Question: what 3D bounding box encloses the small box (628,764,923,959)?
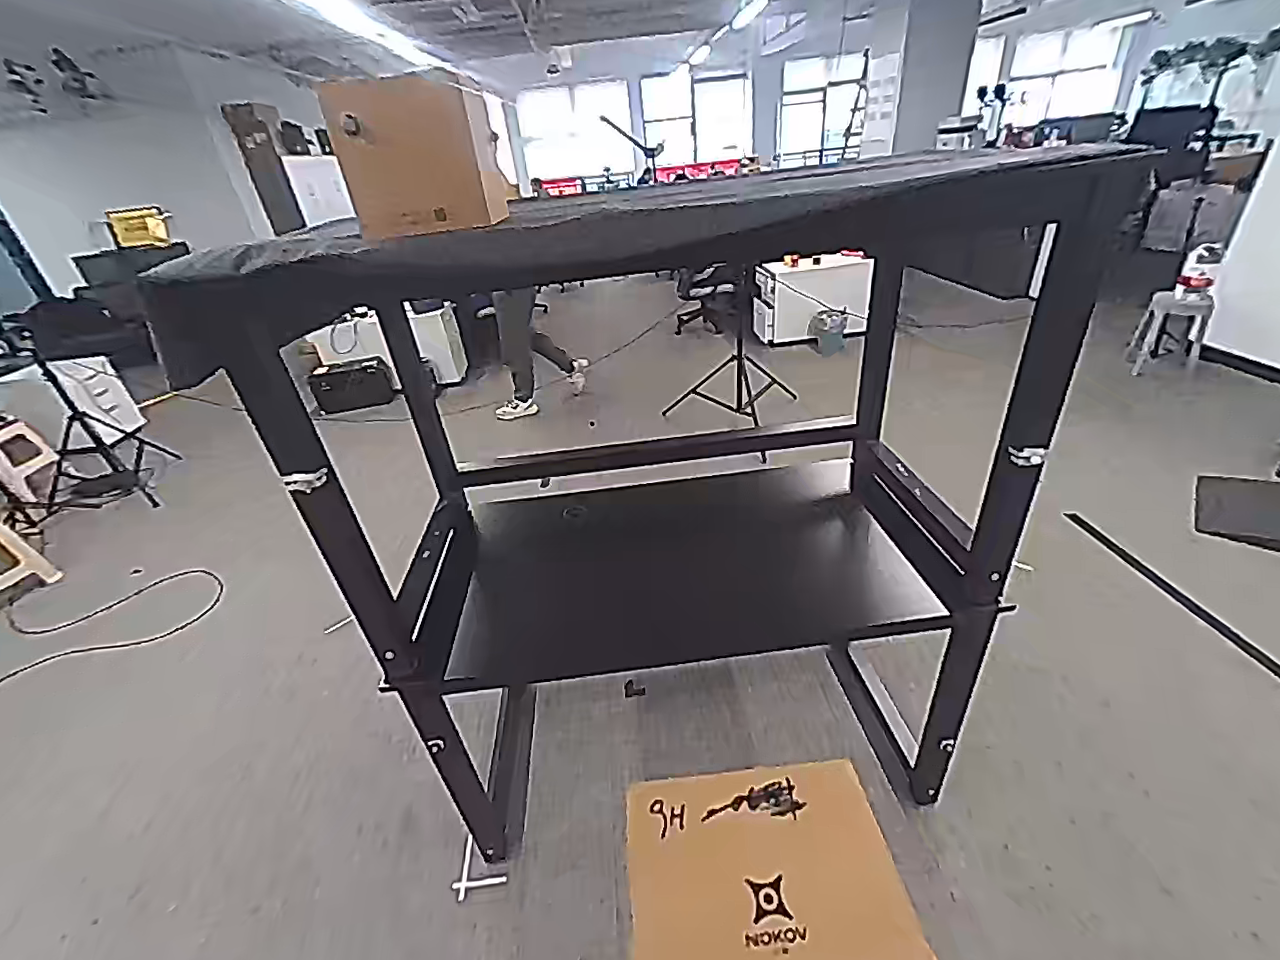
[{"bbox_3d":[0.082,0.328,0.368,0.168,0.176,0.179,-5,34,-1],"label":"small box"}]
